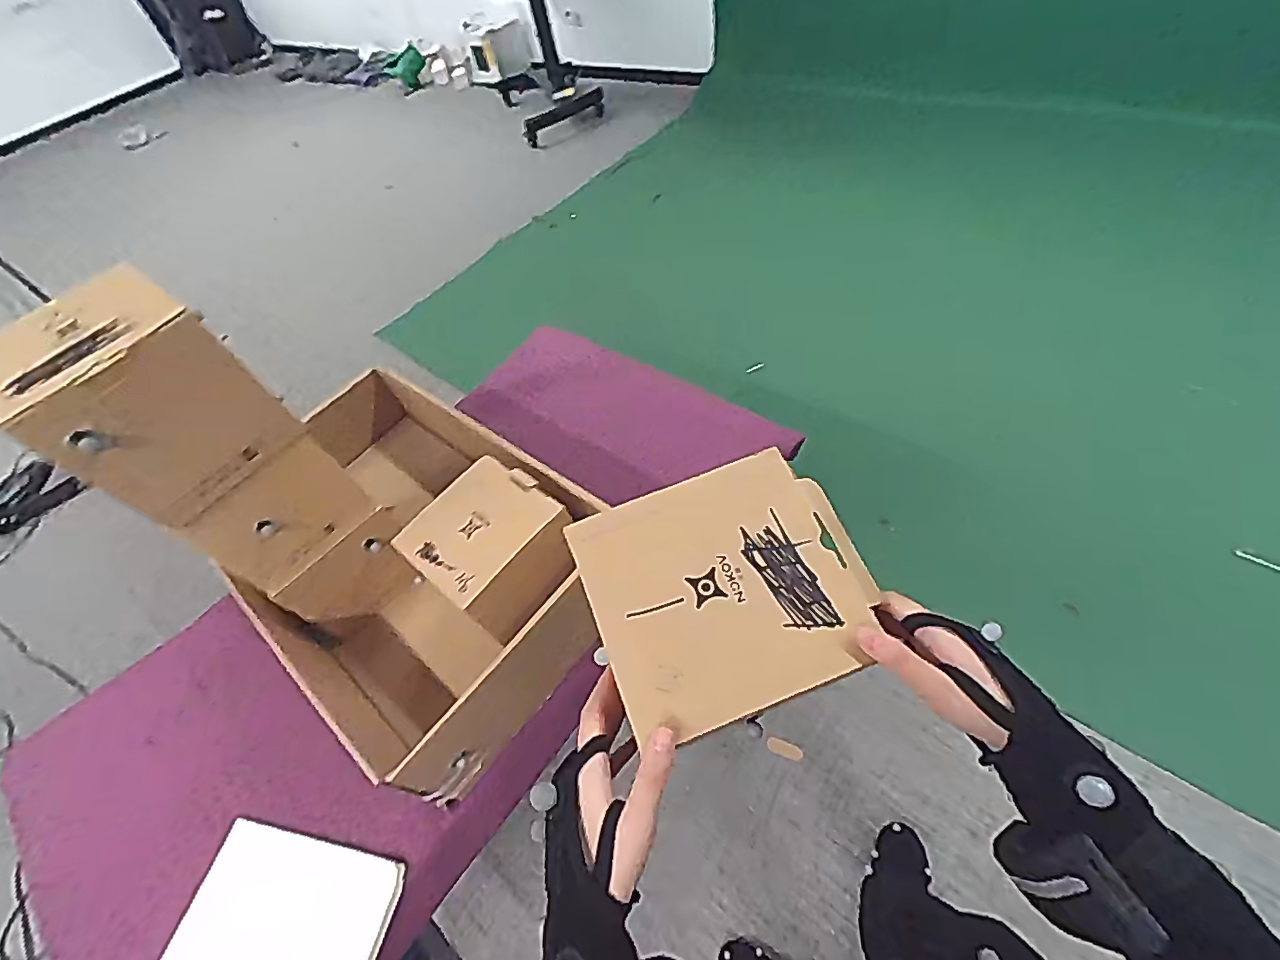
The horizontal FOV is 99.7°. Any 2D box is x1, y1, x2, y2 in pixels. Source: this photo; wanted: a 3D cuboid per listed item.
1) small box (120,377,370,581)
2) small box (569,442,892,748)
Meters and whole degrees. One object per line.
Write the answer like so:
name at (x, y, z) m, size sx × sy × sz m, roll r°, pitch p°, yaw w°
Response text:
small box at (-0.491, 0.005, 0.695) m, size 0.179 × 0.176 × 0.168 m, roll 32°, pitch 66°, yaw 29°
small box at (0.059, 0.101, 0.440) m, size 0.179 × 0.176 × 0.168 m, roll -21°, pitch 63°, yaw -5°
